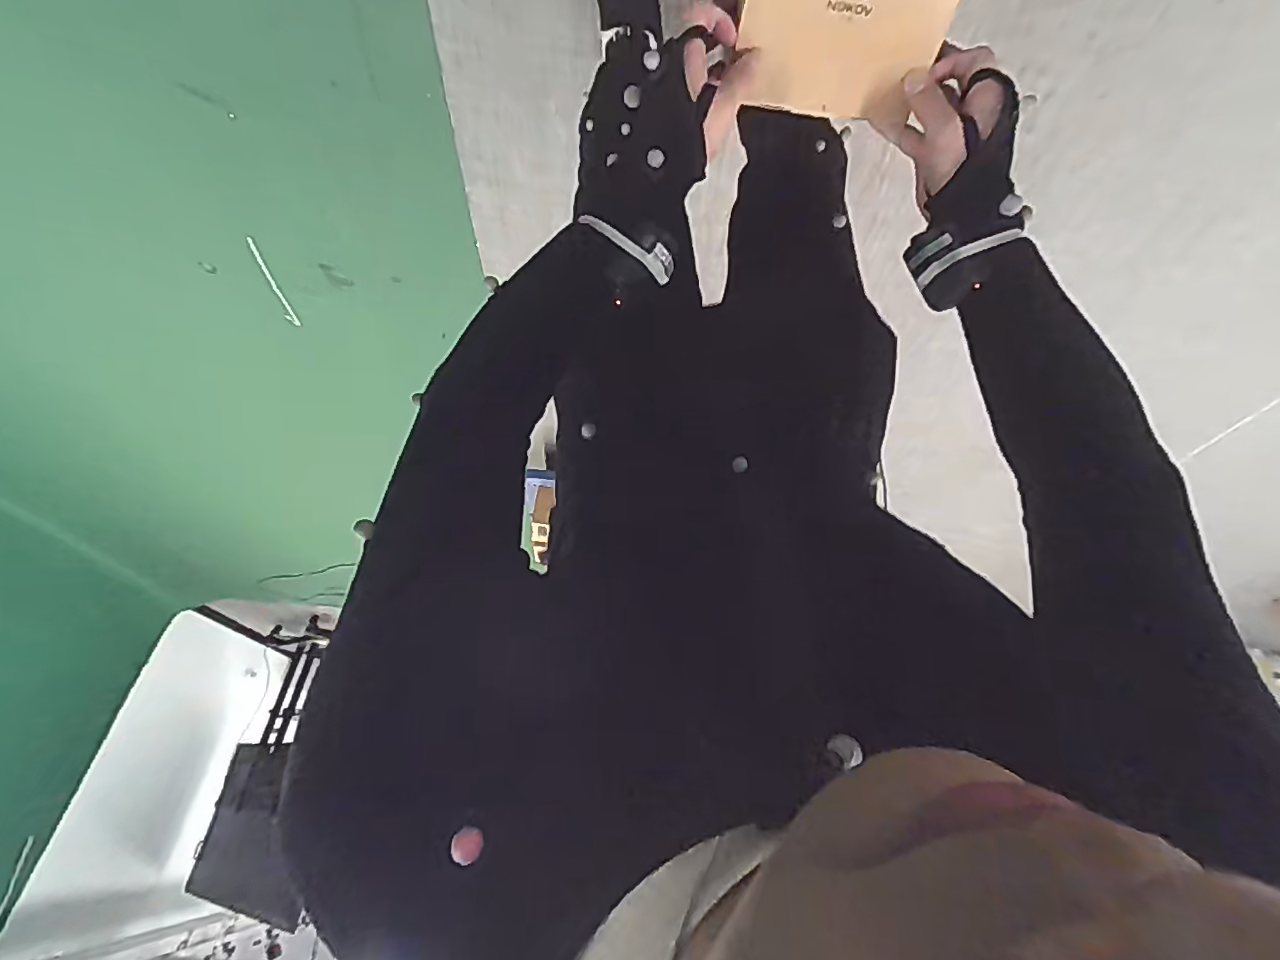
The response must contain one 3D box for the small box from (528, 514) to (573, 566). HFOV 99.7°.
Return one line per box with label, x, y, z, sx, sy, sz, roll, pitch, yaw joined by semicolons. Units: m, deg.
small box;-0.388;0.263;2.364;0.179;0.176;0.168;6;147;-4
